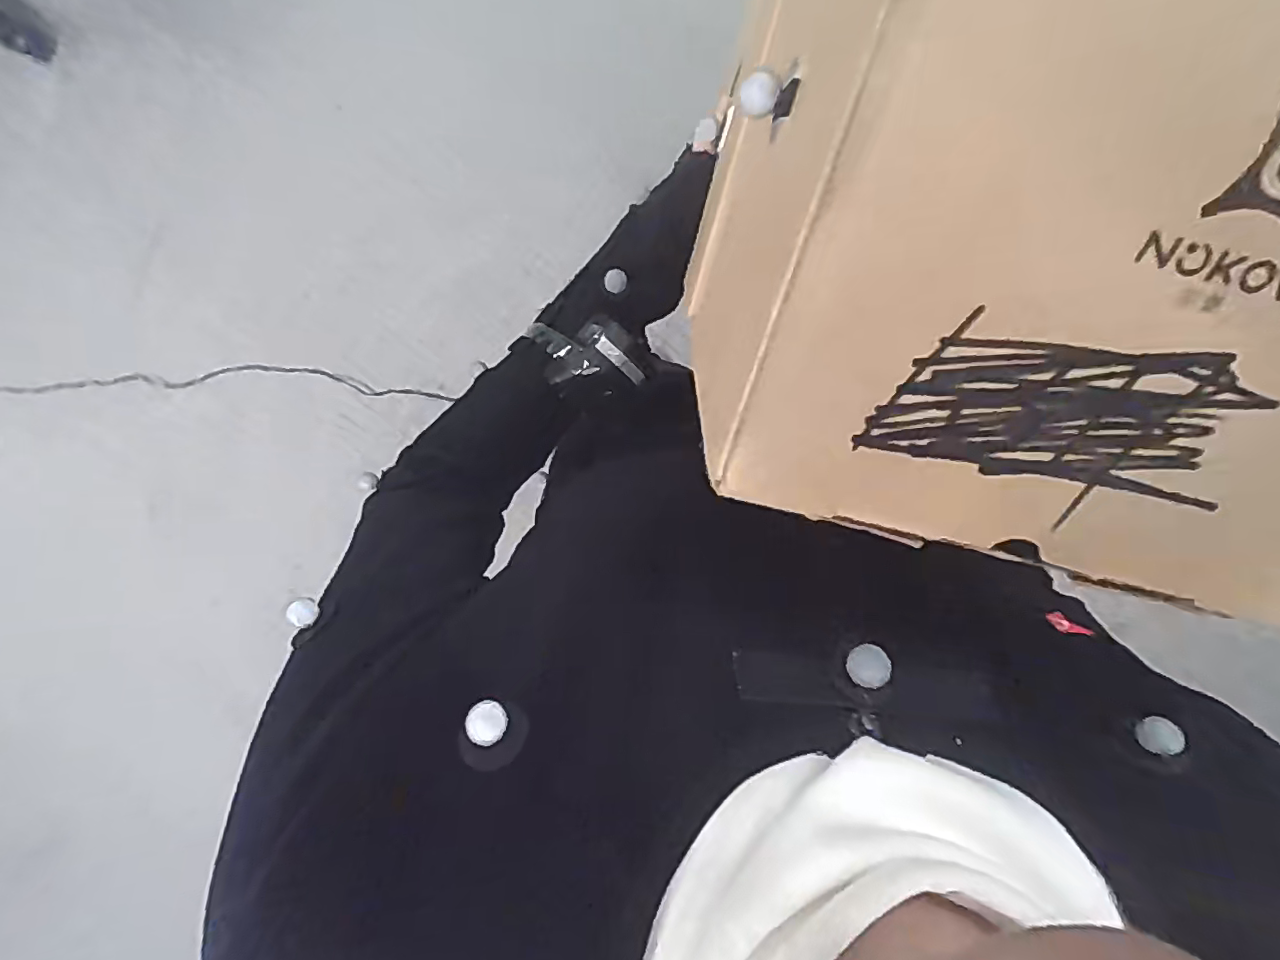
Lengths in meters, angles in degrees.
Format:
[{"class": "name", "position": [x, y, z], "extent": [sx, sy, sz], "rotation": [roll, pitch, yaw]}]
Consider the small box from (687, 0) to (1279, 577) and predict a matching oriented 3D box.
[{"class": "small box", "position": [0.116, -0.100, 0.181], "extent": [0.168, 0.176, 0.179], "rotation": [12, 117, -4]}]
